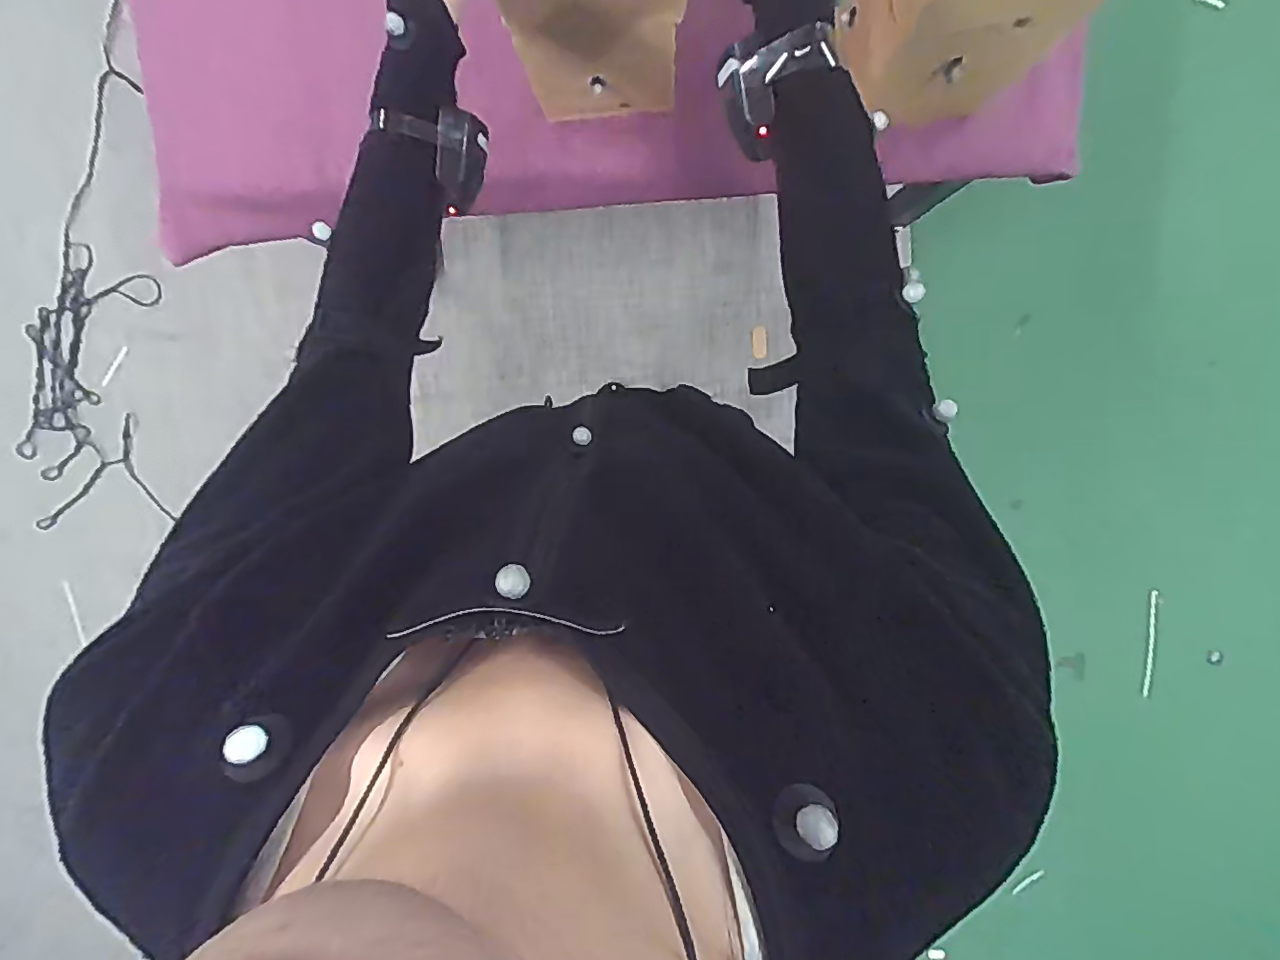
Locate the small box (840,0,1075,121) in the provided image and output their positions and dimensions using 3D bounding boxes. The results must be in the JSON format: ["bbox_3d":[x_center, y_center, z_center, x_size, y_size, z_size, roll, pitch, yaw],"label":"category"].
[{"bbox_3d":[0.332,-0.527,0.590,0.179,0.176,0.168,-5,100,6],"label":"small box"}]

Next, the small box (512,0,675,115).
[{"bbox_3d":[-0.046,-0.545,0.613,0.168,0.176,0.179,-4,99,4],"label":"small box"}]
